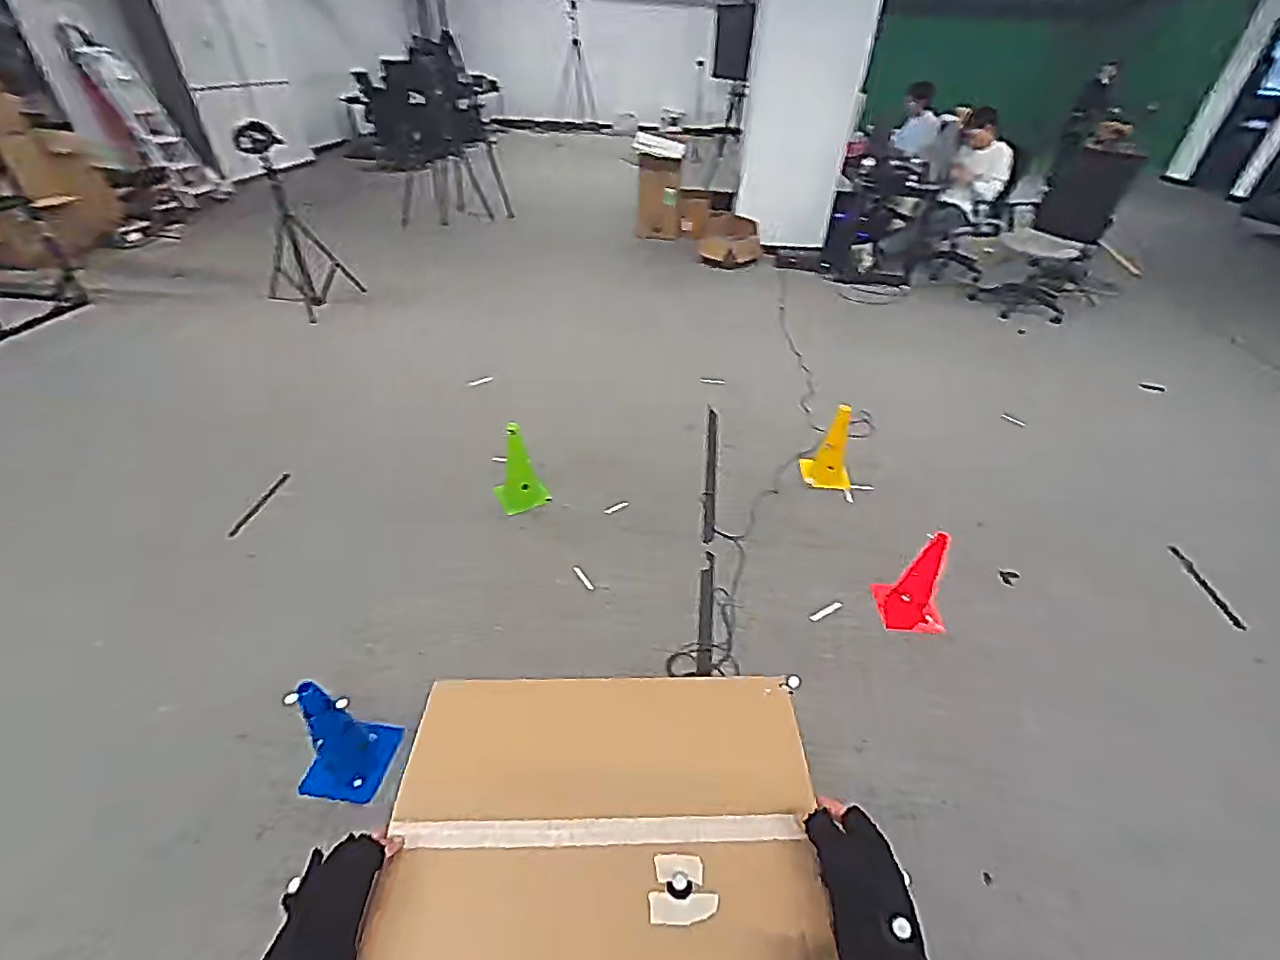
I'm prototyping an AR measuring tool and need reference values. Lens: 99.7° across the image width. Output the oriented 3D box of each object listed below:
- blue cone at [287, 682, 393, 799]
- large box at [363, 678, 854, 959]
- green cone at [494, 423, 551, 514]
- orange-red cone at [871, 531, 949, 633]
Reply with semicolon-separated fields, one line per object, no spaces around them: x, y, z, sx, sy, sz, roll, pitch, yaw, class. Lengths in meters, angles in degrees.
-0.779;0.621;1.348;0.192;0.380;0.193;6;39;7;blue cone
-0.028;0.443;0.602;0.408;0.320;0.320;1;39;0;large box
-0.501;-0.074;2.197;0.202;0.368;0.200;-21;43;-24;green cone
0.929;0.308;1.782;0.198;0.360;0.199;4;37;1;orange-red cone
